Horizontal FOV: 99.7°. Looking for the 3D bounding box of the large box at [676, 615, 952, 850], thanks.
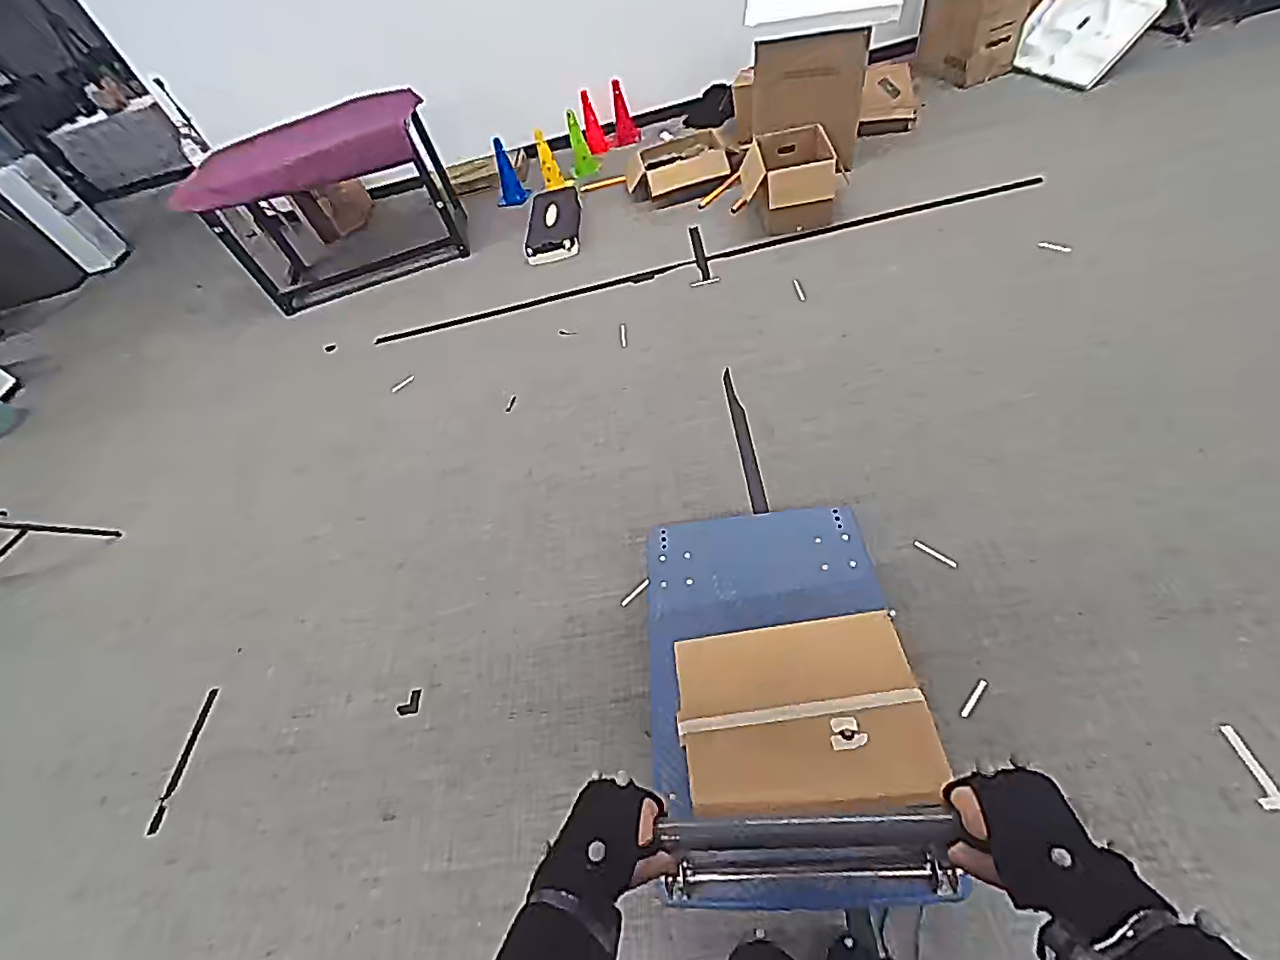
[{"bbox_3d":[0.302,0.498,1.050,0.408,0.320,0.320,-10,51,6],"label":"large box"}]
